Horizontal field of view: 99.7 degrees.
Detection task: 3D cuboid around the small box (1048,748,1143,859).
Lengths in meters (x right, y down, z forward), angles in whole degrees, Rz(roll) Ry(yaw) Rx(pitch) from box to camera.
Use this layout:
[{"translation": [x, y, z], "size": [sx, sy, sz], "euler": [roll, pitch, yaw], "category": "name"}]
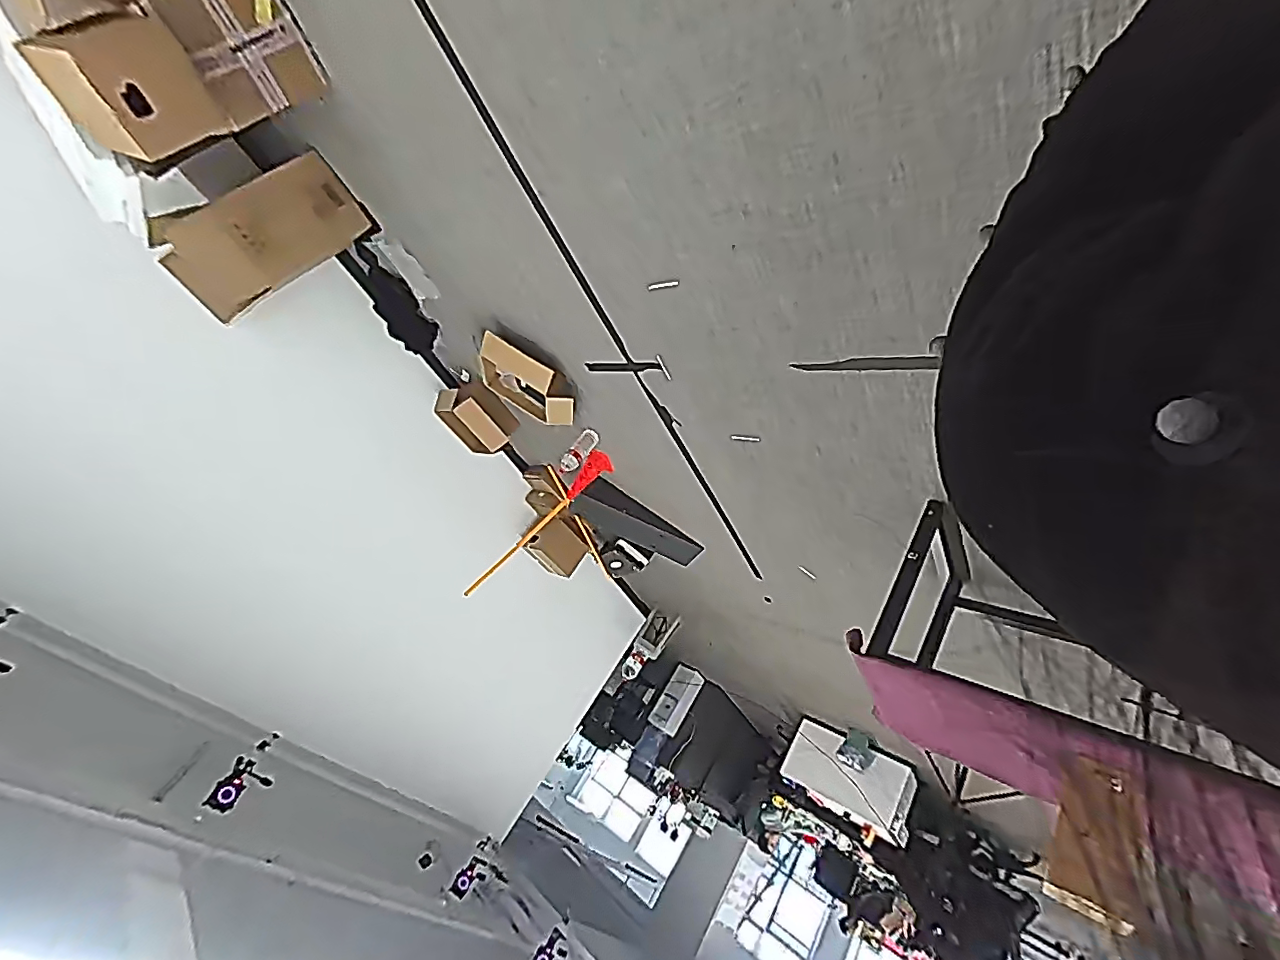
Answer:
[{"translation": [1.193, 0.844, 1.420], "size": [0.168, 0.176, 0.179], "euler": [10, 145, 41], "category": "small box"}]
